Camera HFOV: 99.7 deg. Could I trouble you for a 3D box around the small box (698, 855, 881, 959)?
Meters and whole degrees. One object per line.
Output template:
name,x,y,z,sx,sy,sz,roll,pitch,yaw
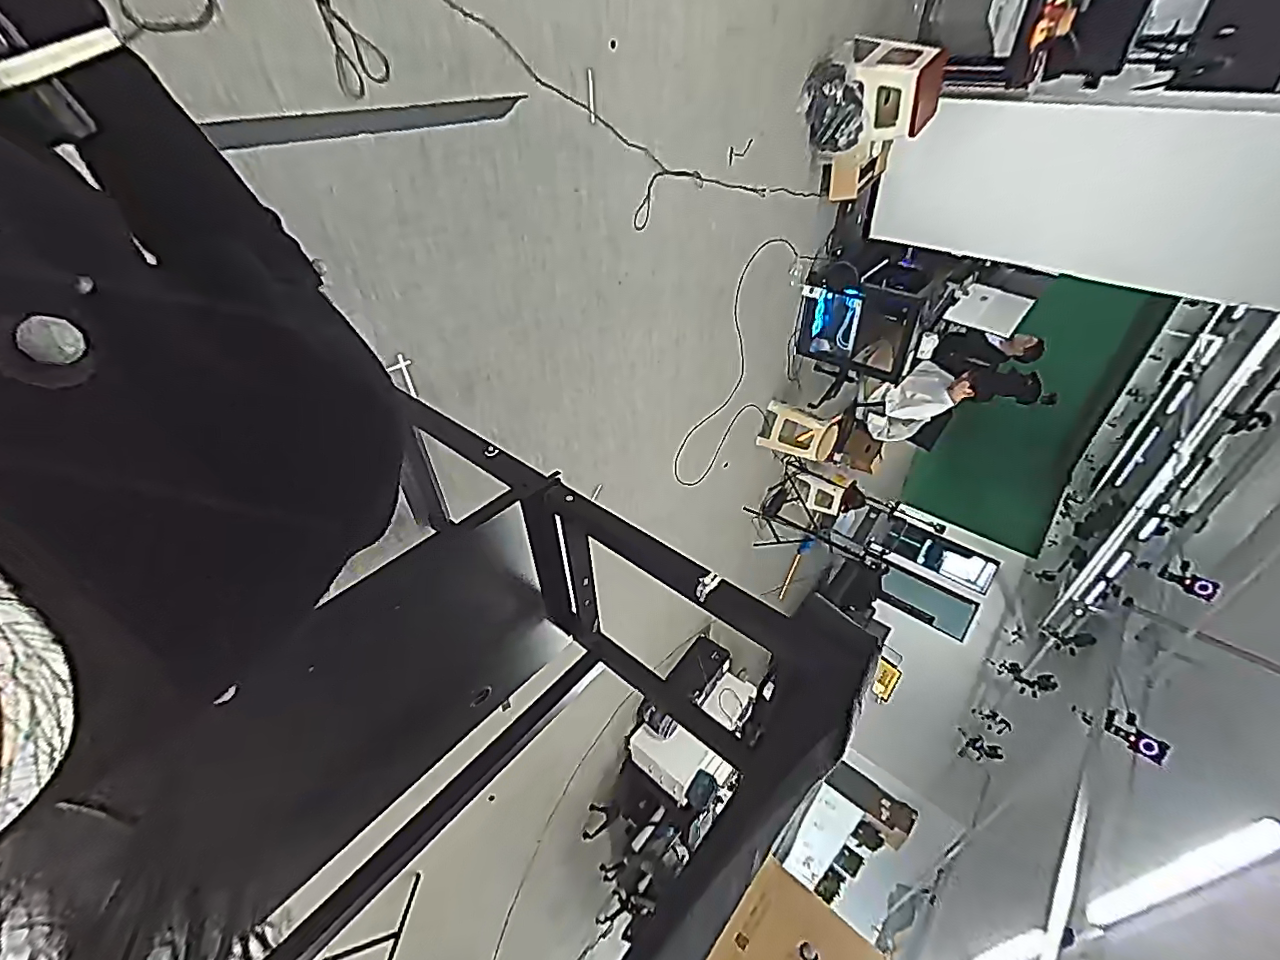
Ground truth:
small box,0.177,0.635,0.700,0.168,0.176,0.179,-35,142,-37
